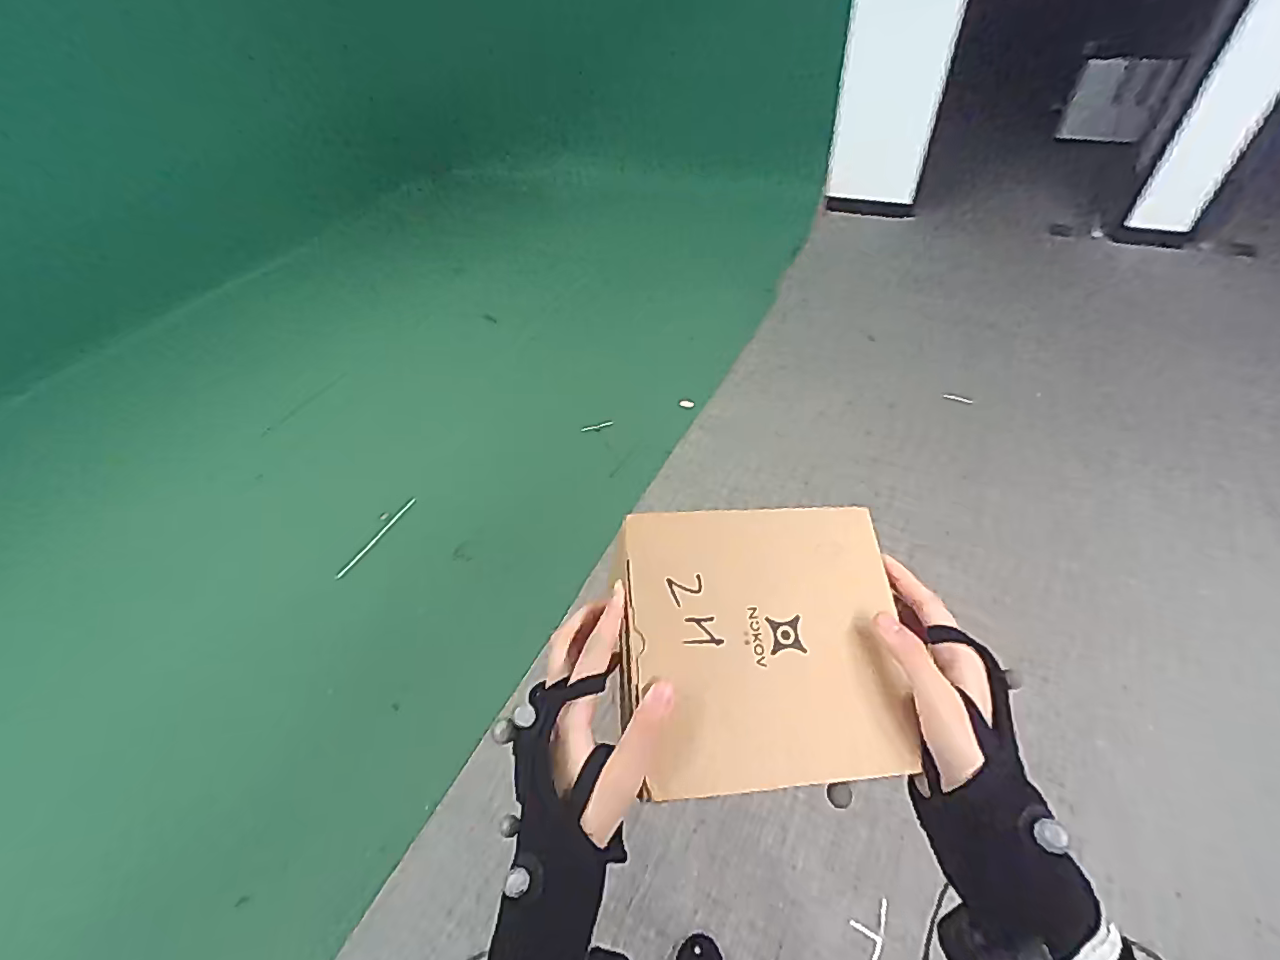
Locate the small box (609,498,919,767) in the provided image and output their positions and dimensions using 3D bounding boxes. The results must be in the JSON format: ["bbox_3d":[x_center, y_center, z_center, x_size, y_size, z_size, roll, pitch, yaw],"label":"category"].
[{"bbox_3d":[0.071,0.122,0.421,0.179,0.176,0.168,-1,64,-7],"label":"small box"}]
